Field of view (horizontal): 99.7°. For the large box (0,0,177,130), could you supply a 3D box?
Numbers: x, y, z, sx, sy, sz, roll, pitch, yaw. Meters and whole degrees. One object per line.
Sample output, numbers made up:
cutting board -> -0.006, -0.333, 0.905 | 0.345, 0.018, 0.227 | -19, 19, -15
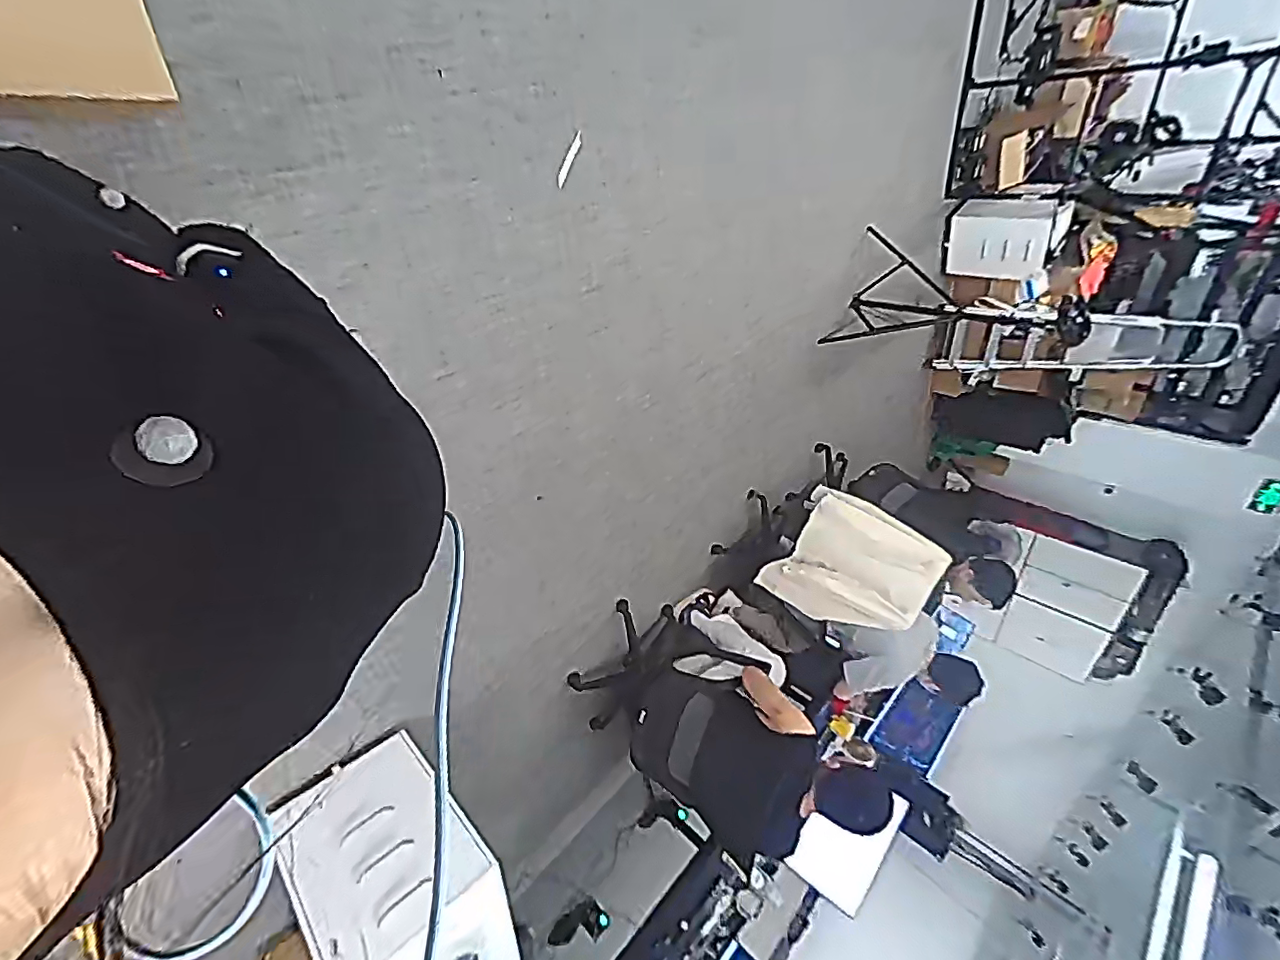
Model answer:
large box -> -0.901, -0.622, 0.660 | 0.408, 0.320, 0.320 | -29, 129, -37
